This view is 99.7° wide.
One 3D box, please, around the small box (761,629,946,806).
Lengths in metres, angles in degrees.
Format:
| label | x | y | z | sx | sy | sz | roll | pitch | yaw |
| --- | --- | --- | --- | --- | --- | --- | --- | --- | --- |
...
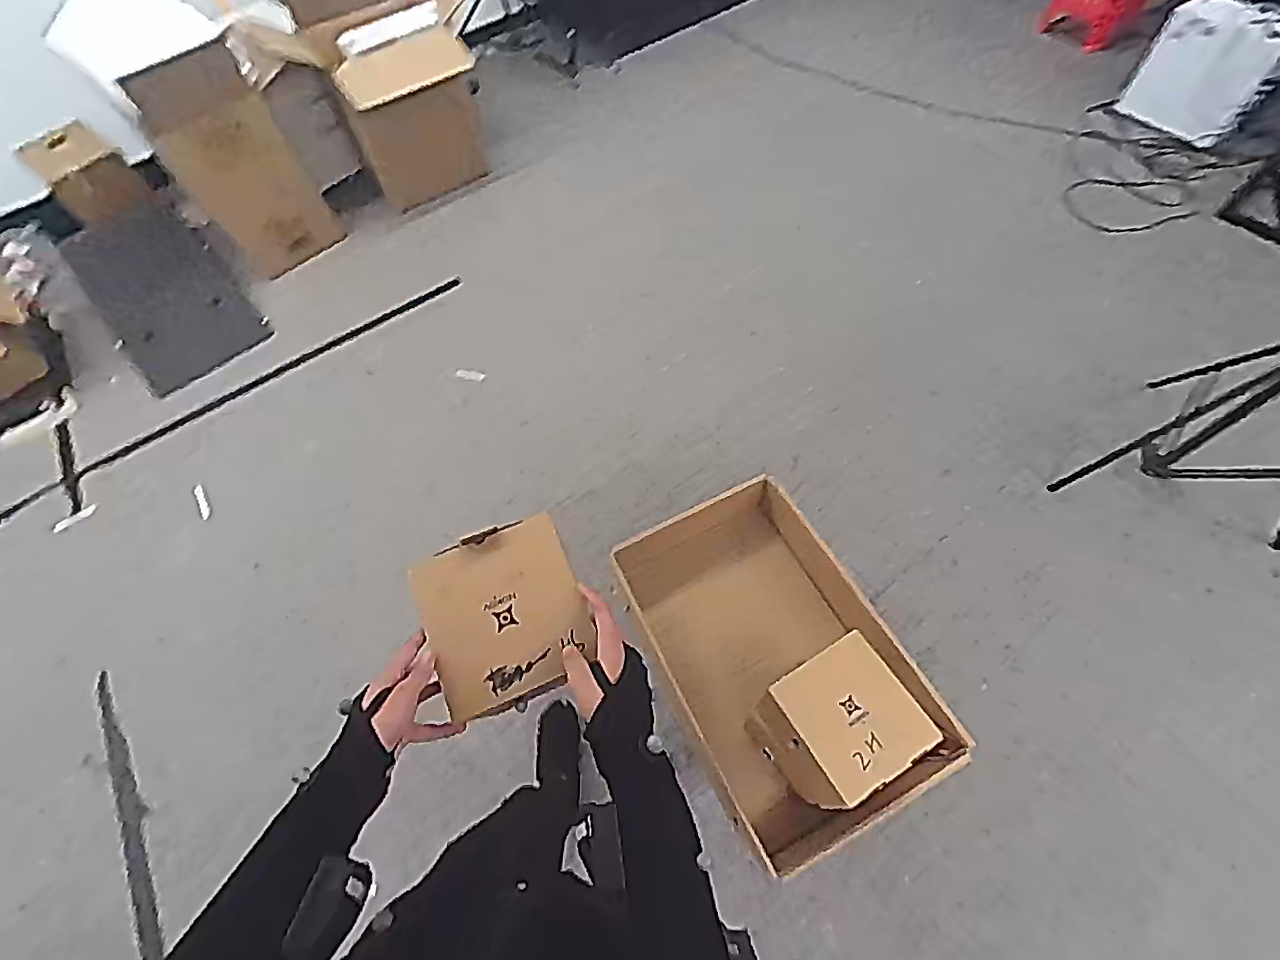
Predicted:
| label | x | y | z | sx | sy | sz | roll | pitch | yaw |
| --- | --- | --- | --- | --- | --- | --- | --- | --- | --- |
| small box | 0.300 | 0.358 | 0.806 | 0.168 | 0.176 | 0.179 | -28 | 61 | -11 |

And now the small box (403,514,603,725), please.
| label | x | y | z | sx | sy | sz | roll | pitch | yaw |
| --- | --- | --- | --- | --- | --- | --- | --- | --- | --- |
| small box | -0.150 | 0.167 | 0.639 | 0.168 | 0.176 | 0.179 | -22 | 72 | -9 |
